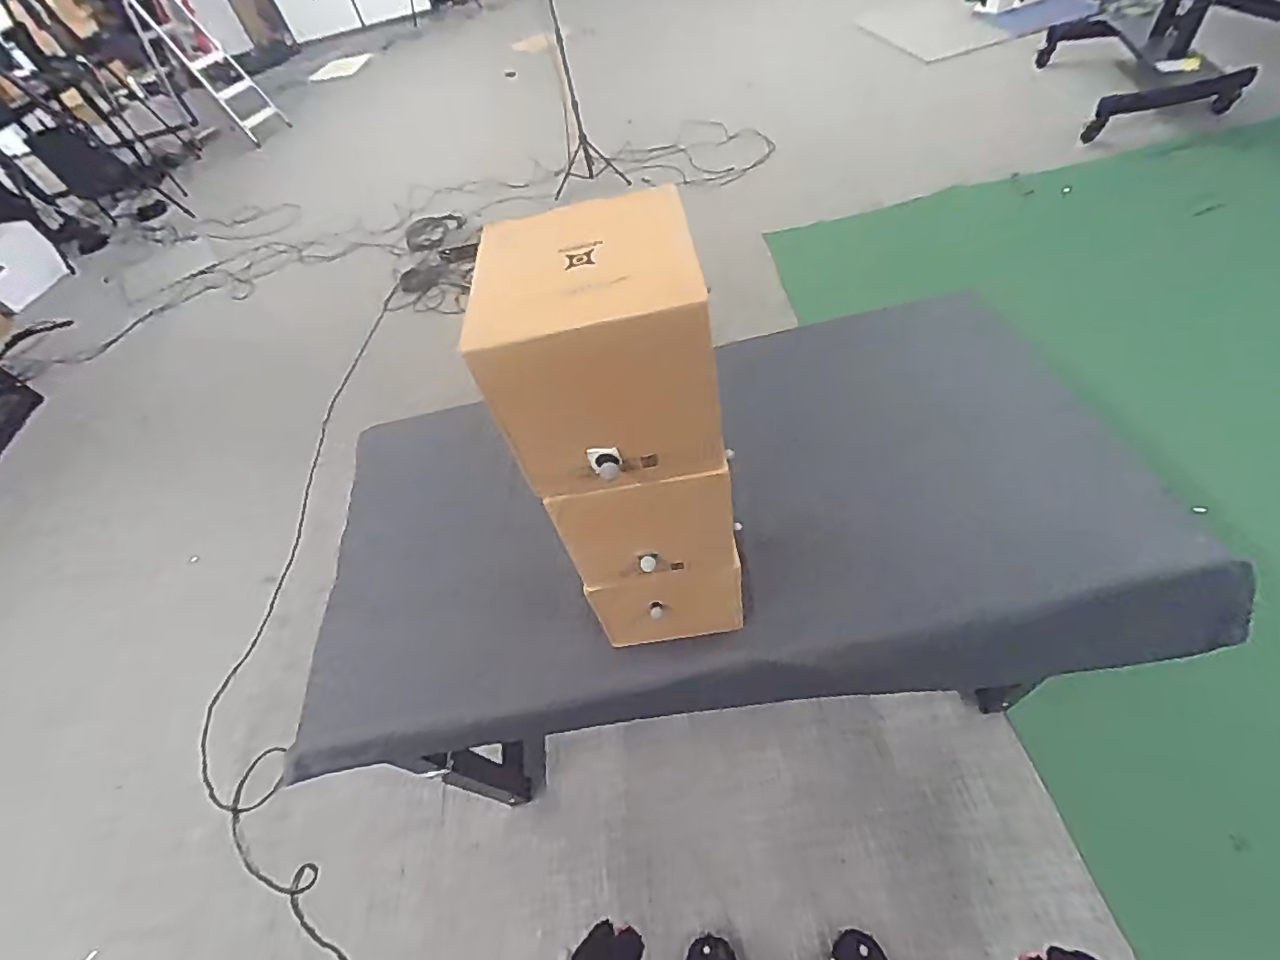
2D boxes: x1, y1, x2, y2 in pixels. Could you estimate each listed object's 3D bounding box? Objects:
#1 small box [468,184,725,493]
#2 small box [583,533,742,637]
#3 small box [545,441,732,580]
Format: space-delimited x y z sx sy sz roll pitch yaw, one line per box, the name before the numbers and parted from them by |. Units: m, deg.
small box | -0.025 -0.115 0.460 0.168 0.176 0.179 -10 52 5
small box | 0.031 0.091 0.706 0.179 0.176 0.168 -9 51 5
small box | 0.005 -0.014 0.582 0.168 0.176 0.179 -8 51 6
